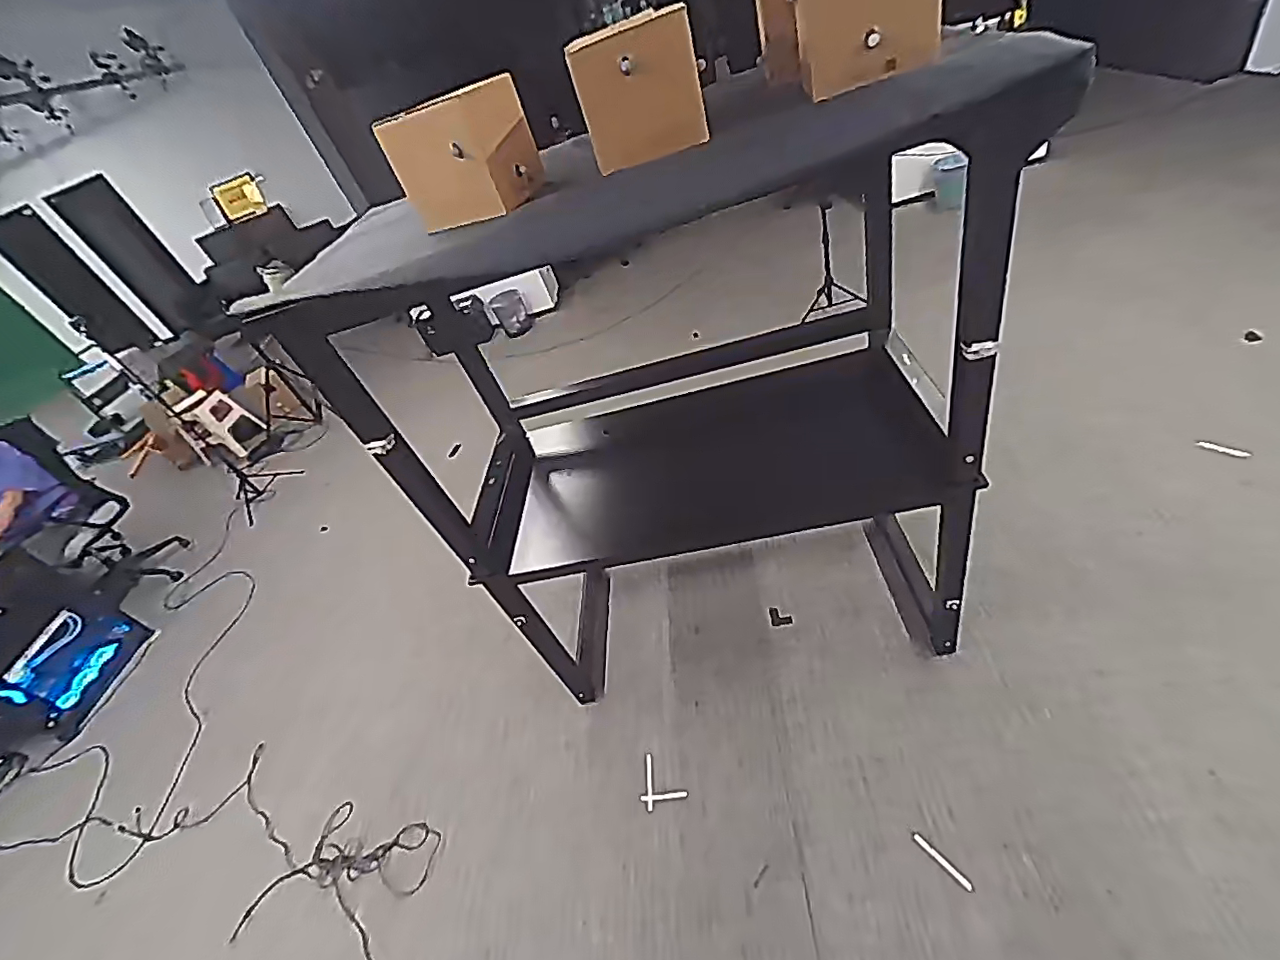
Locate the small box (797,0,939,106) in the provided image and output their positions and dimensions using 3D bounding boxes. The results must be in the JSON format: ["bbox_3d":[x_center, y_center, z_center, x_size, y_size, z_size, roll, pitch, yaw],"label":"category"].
[{"bbox_3d":[0.316,-0.662,0.770,0.168,0.176,0.179,-8,42,18],"label":"small box"}]

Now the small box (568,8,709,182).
[{"bbox_3d":[0.007,-0.599,0.847,0.179,0.176,0.168,-13,41,12],"label":"small box"}]
